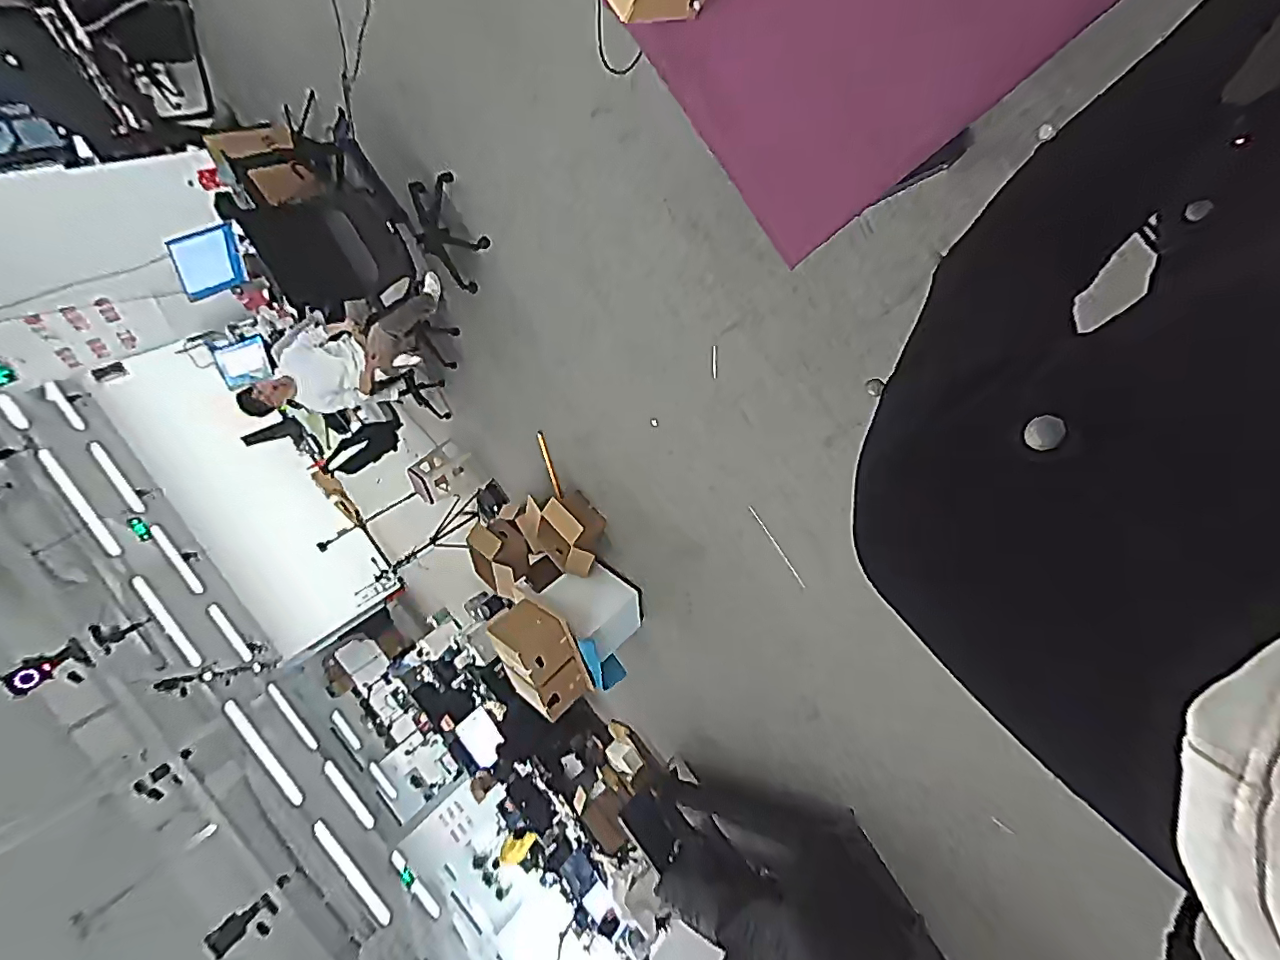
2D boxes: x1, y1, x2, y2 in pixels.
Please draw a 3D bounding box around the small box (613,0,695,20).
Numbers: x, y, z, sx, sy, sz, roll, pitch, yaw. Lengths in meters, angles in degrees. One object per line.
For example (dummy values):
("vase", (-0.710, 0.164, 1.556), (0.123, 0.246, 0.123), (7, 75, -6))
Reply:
("small box", (0.027, -0.795, 0.747), (0.179, 0.176, 0.168), (56, 147, -5))
